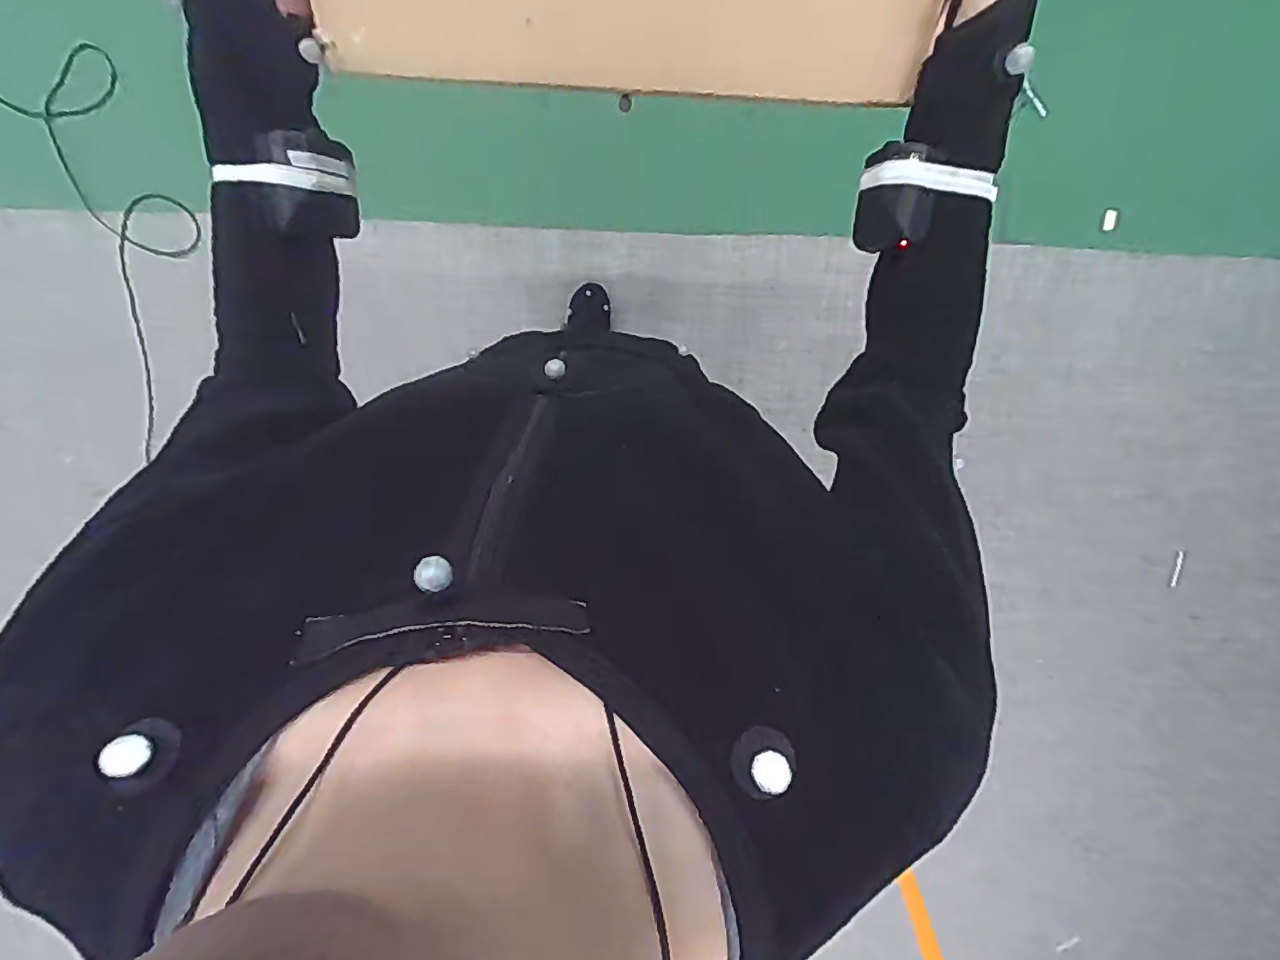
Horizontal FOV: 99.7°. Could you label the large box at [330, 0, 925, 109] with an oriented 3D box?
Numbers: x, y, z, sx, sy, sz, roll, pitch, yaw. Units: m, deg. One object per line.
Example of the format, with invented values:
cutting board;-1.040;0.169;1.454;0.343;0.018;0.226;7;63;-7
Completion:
large box;-0.004;-0.490;0.416;0.408;0.320;0.320;2;126;-3
